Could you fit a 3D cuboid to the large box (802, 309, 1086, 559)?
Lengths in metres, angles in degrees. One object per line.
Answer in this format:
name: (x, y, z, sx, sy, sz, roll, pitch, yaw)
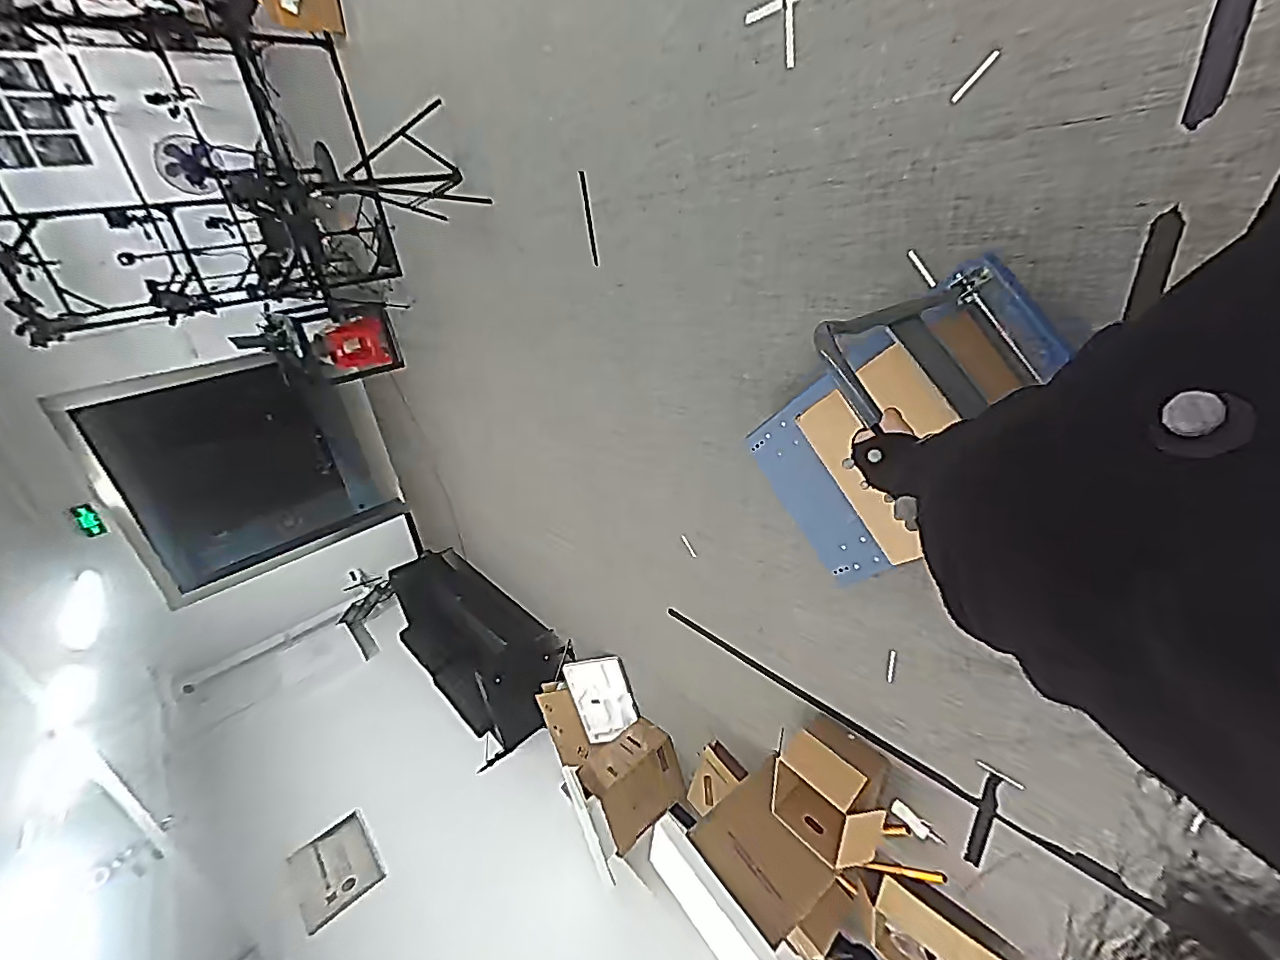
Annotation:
large box: (0.655, -0.100, 1.192, 0.408, 0.320, 0.320, 59, 145, 9)
